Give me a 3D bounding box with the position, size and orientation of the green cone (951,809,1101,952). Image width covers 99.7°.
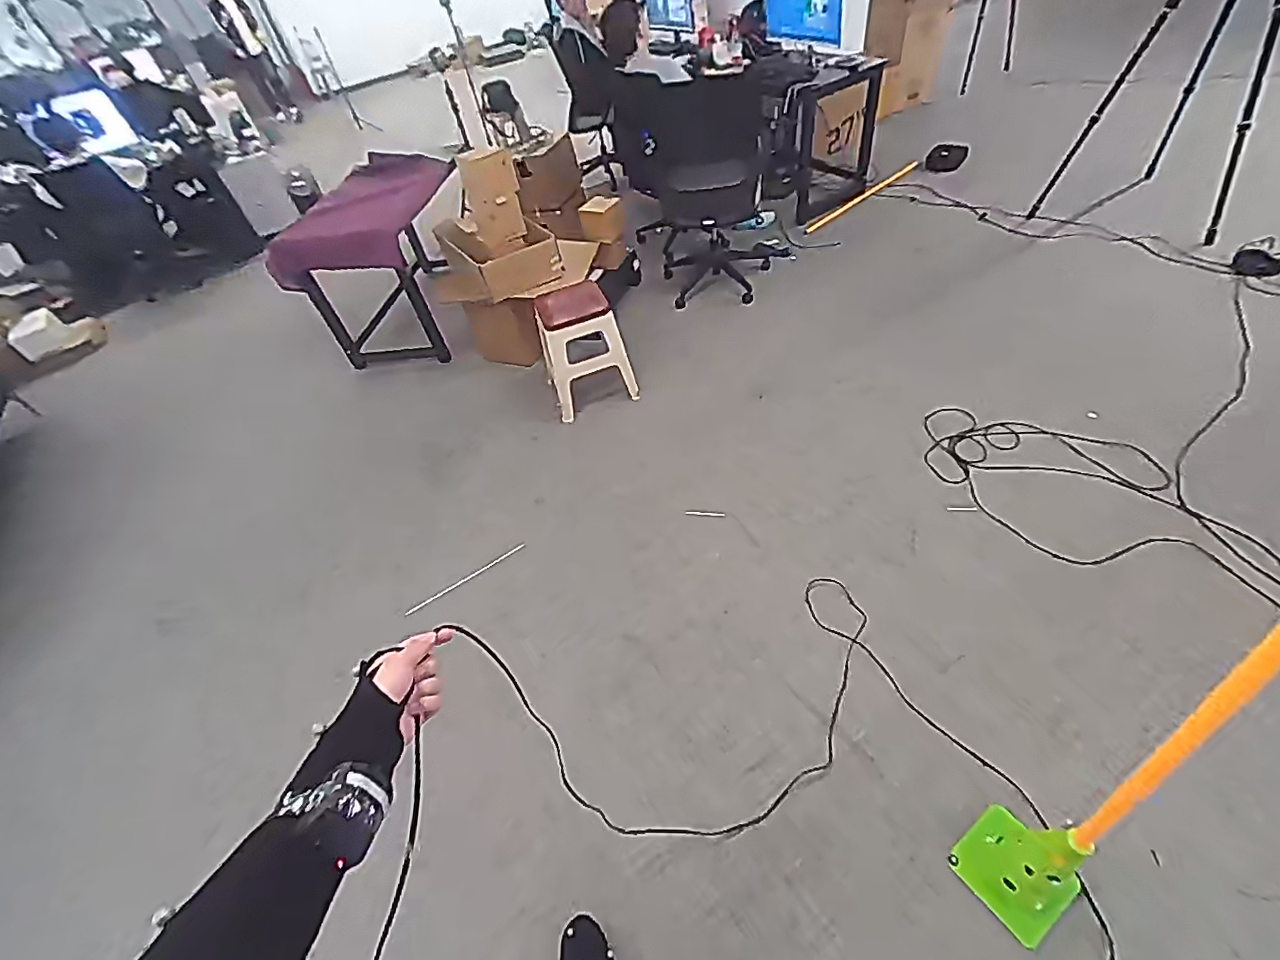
[{"bbox_3d":[0.806,0.758,1.070,0.202,0.368,0.200,-32,50,-19],"label":"green cone"}]
